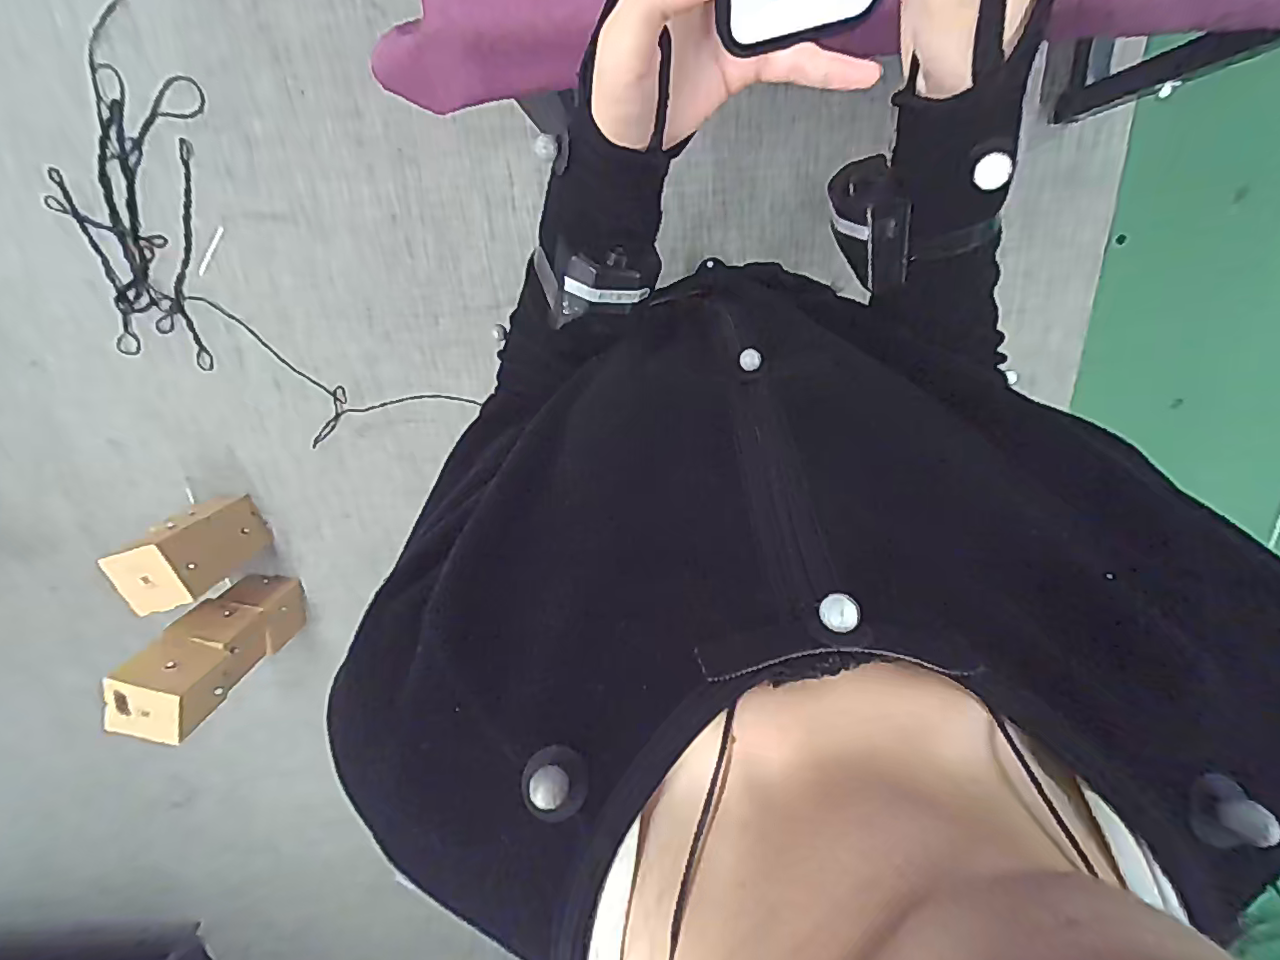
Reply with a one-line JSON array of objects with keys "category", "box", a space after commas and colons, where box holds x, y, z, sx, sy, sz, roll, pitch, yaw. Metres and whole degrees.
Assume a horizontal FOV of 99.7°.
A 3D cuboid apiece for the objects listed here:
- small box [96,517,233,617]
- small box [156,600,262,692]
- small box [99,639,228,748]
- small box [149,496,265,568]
[{"category": "small box", "box": [-1.219, 0.221, 1.404, 0.168, 0.176, 0.179, -15, 110, 6]}, {"category": "small box", "box": [-1.183, 0.464, 1.498, 0.168, 0.176, 0.179, 13, 109, -3]}, {"category": "small box", "box": [-1.179, 0.522, 1.344, 0.179, 0.176, 0.168, 17, 110, -5]}, {"category": "small box", "box": [-1.228, 0.158, 1.555, 0.179, 0.176, 0.168, -10, 110, 6]}]
